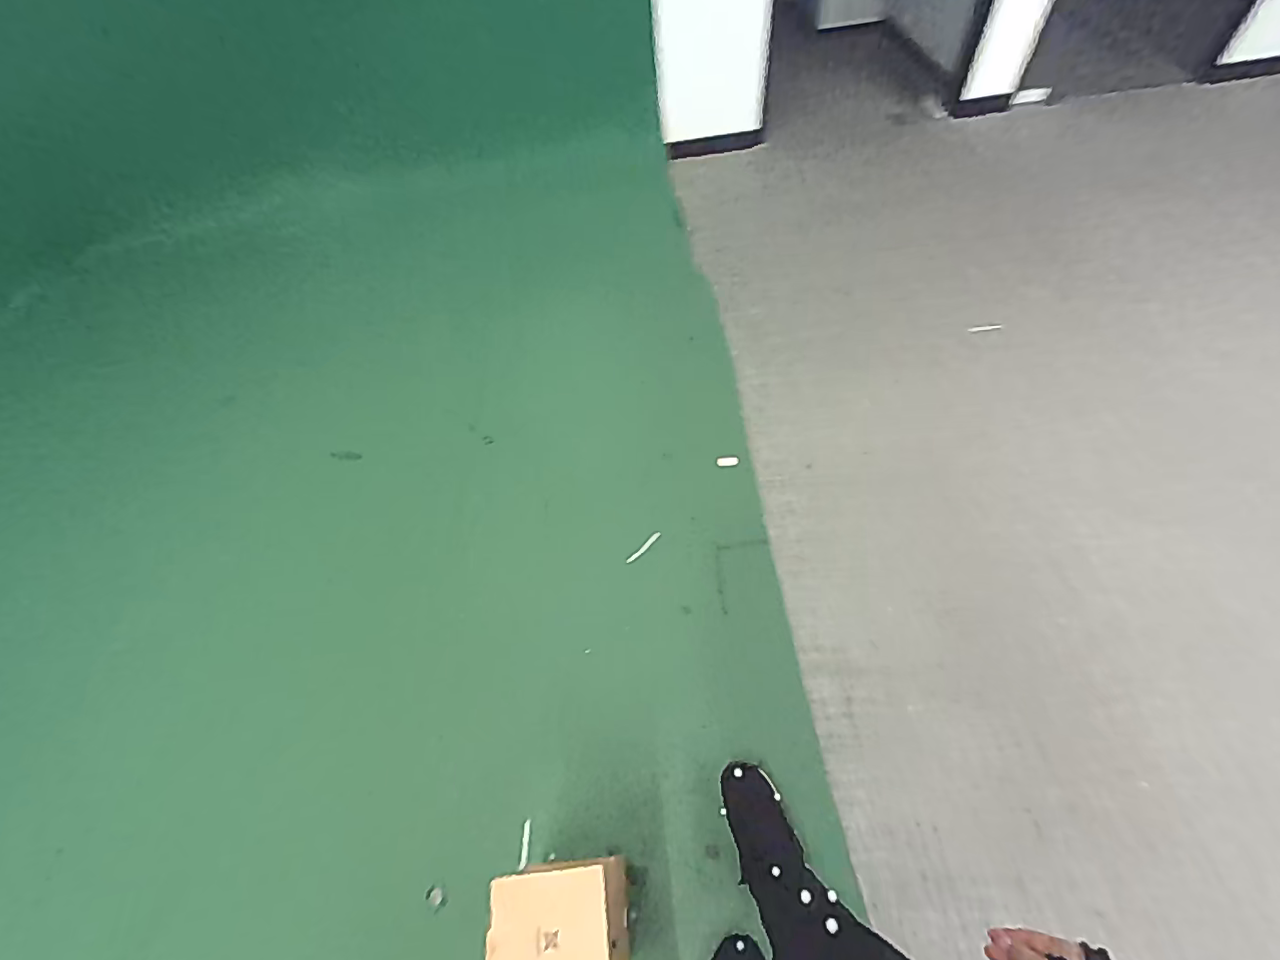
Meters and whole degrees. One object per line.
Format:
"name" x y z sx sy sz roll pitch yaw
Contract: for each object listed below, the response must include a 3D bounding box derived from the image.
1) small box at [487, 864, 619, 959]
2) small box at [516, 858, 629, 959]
"small box" -0.128 0.712 0.842 0.179 0.176 0.168 -9 56 1
"small box" -0.120 0.796 0.982 0.179 0.176 0.168 -7 56 0
